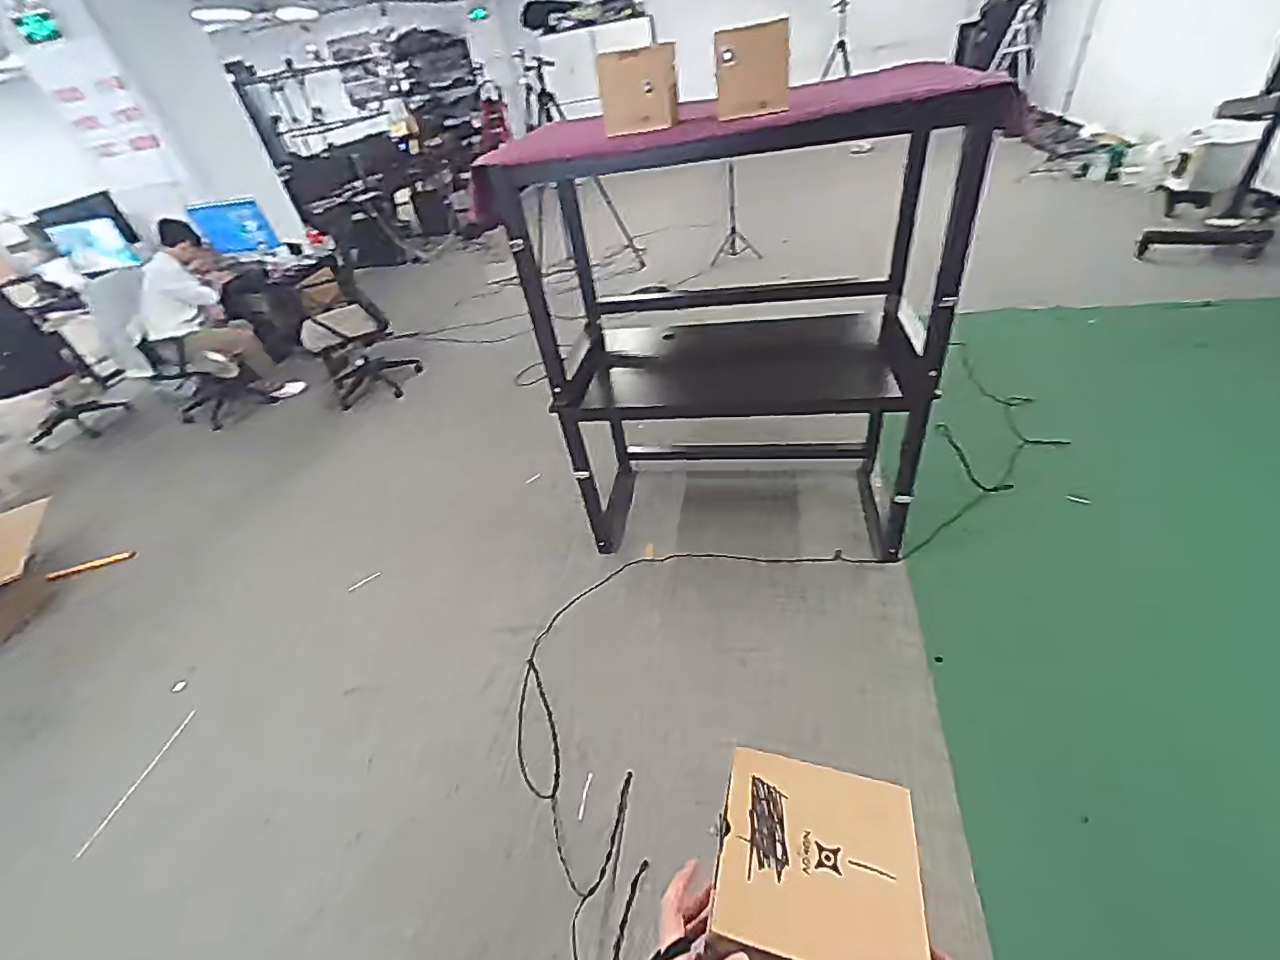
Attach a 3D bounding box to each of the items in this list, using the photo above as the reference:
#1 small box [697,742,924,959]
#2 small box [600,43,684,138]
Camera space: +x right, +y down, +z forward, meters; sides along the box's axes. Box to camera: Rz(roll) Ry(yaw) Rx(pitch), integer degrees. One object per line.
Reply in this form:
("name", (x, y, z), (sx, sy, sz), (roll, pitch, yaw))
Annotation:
("small box", (0.155, 0.397, 0.530), (0.179, 0.176, 0.168), (8, 36, 13))
("small box", (0.014, -0.960, 1.340), (0.168, 0.176, 0.179), (2, 39, 14))
